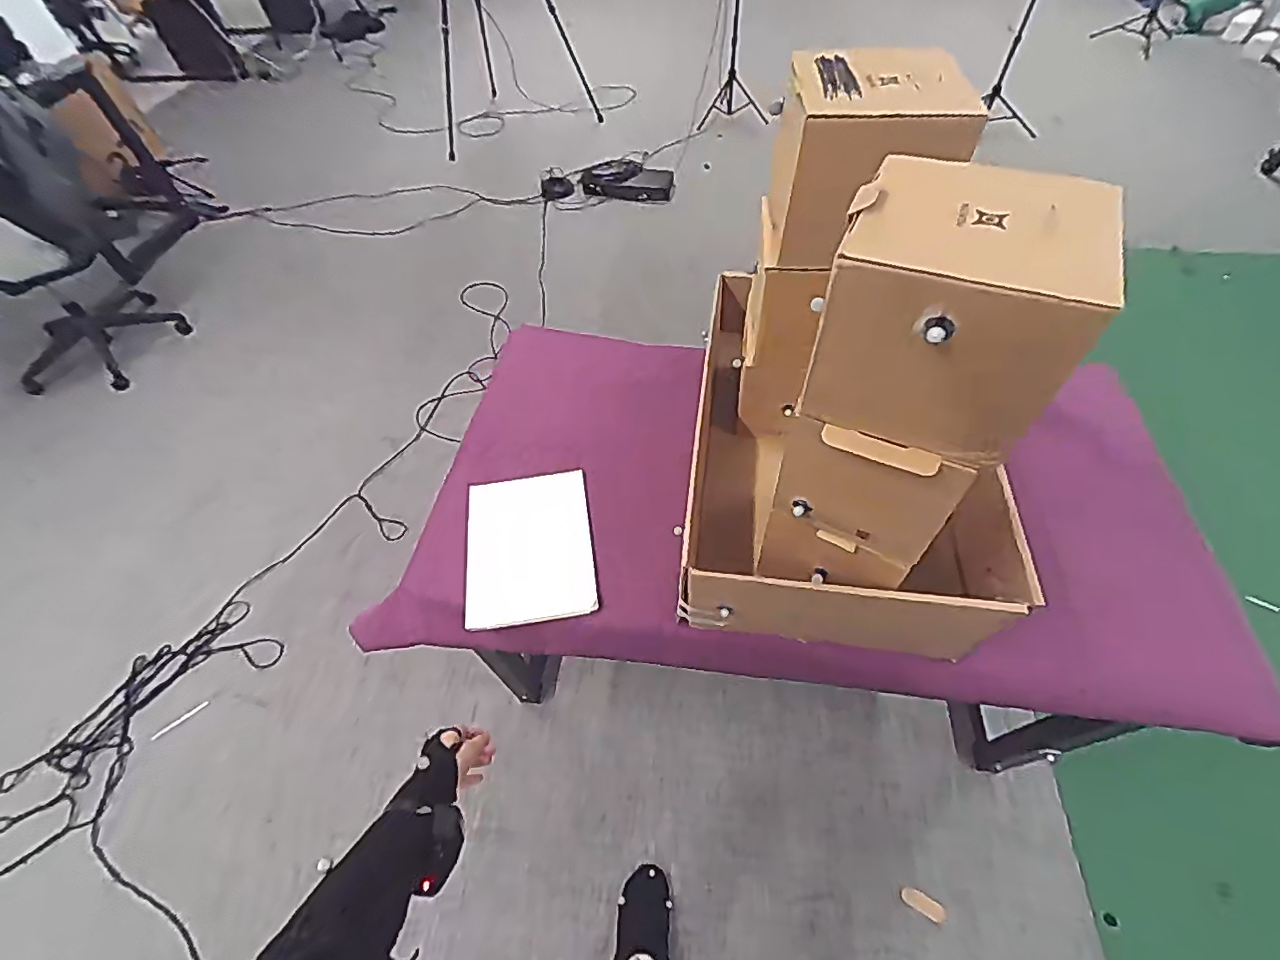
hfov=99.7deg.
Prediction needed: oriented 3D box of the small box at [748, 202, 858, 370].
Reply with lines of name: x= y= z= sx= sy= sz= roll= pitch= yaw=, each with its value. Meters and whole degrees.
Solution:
small box: x=0.247 y=-0.268 z=0.764 sx=0.179 sy=0.176 sz=0.168 roll=3 pitch=56 yaw=6

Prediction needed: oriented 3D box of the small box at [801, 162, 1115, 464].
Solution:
small box: x=0.252 y=-0.139 z=0.460 sx=0.179 sy=0.176 sz=0.168 roll=20 pitch=57 yaw=19

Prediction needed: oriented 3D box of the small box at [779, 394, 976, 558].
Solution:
small box: x=0.262 y=-0.044 z=0.592 sx=0.168 sy=0.176 sz=0.179 roll=22 pitch=57 yaw=21

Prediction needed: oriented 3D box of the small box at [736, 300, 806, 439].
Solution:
small box: x=0.251 y=-0.178 z=0.899 sx=0.168 sy=0.176 sz=0.179 roll=5 pitch=56 yaw=7
